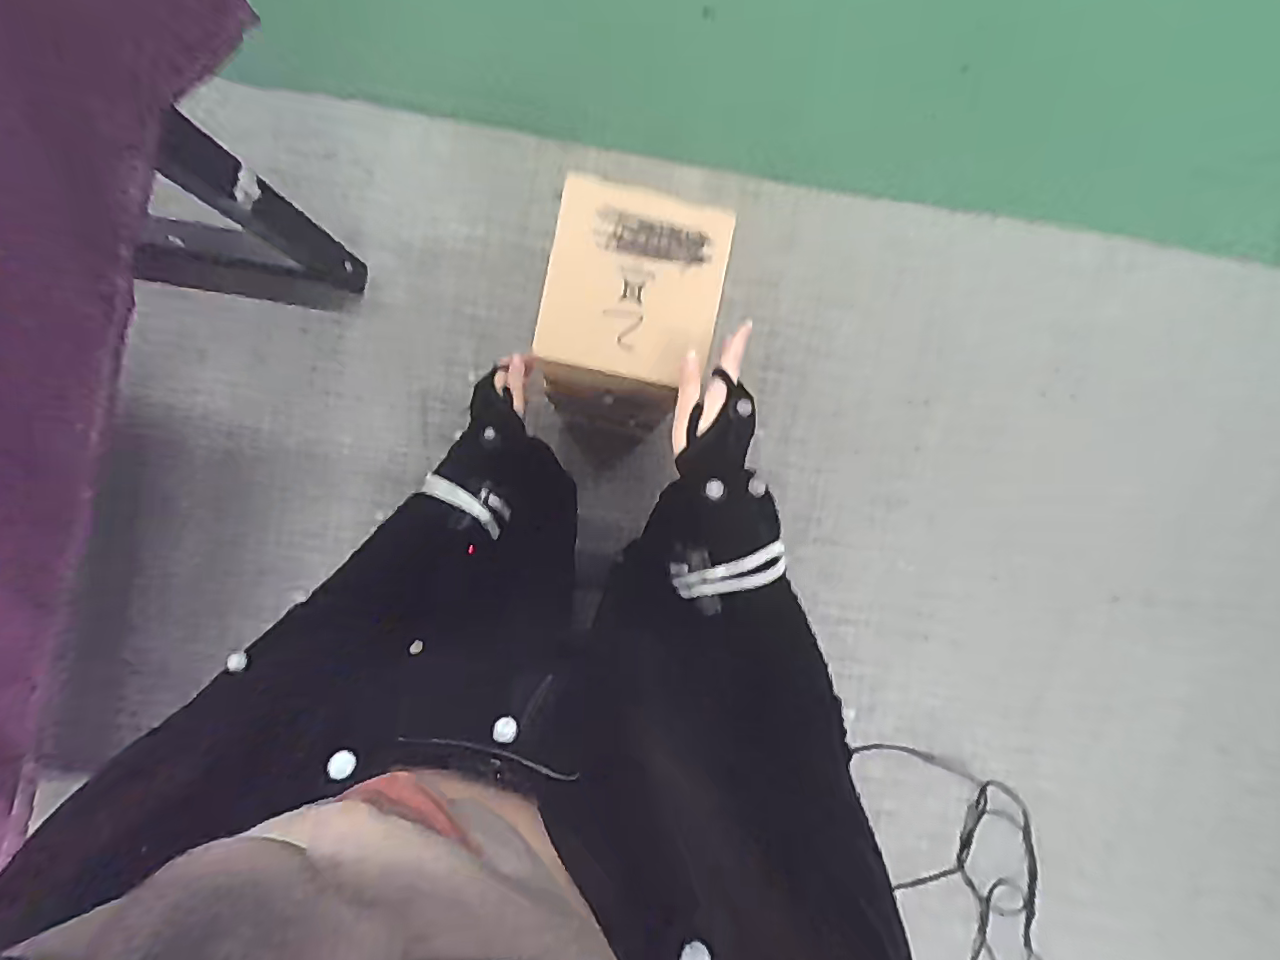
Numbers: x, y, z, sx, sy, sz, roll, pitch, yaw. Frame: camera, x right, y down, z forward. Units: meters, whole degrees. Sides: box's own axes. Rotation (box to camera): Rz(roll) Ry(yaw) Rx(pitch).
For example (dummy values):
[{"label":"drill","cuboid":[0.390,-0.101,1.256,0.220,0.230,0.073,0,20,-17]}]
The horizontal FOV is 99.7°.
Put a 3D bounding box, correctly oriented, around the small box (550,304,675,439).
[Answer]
[{"label":"small box","cuboid":[-0.047,-0.173,0.922,0.168,0.176,0.179,13,90,-4]}]
